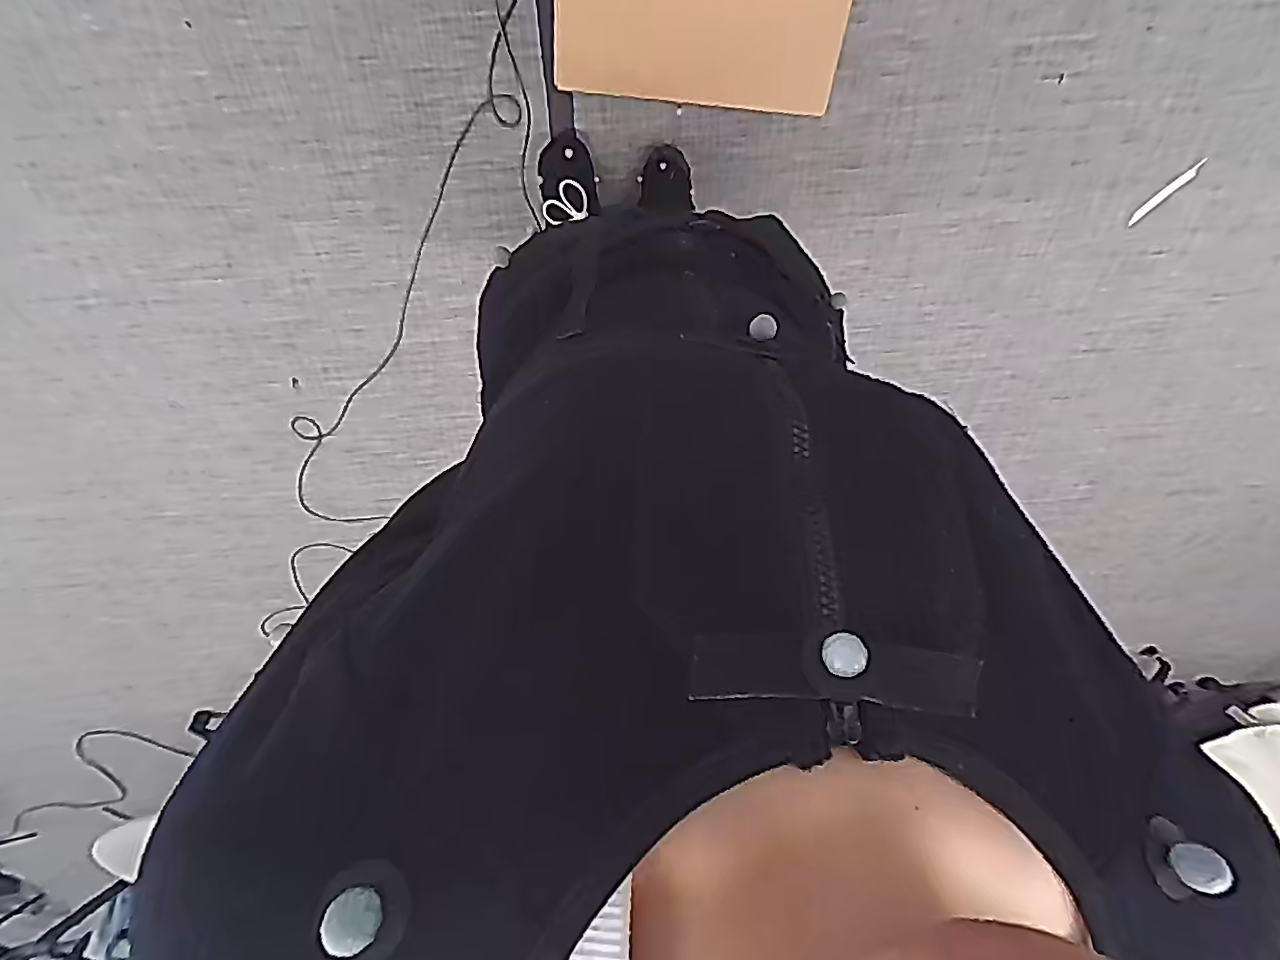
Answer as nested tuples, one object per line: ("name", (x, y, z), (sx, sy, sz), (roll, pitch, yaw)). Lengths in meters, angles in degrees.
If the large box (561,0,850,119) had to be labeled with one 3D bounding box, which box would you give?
("large box", (0.082, -0.764, 0.837), (0.408, 0.320, 0.320), (2, 126, -7))
